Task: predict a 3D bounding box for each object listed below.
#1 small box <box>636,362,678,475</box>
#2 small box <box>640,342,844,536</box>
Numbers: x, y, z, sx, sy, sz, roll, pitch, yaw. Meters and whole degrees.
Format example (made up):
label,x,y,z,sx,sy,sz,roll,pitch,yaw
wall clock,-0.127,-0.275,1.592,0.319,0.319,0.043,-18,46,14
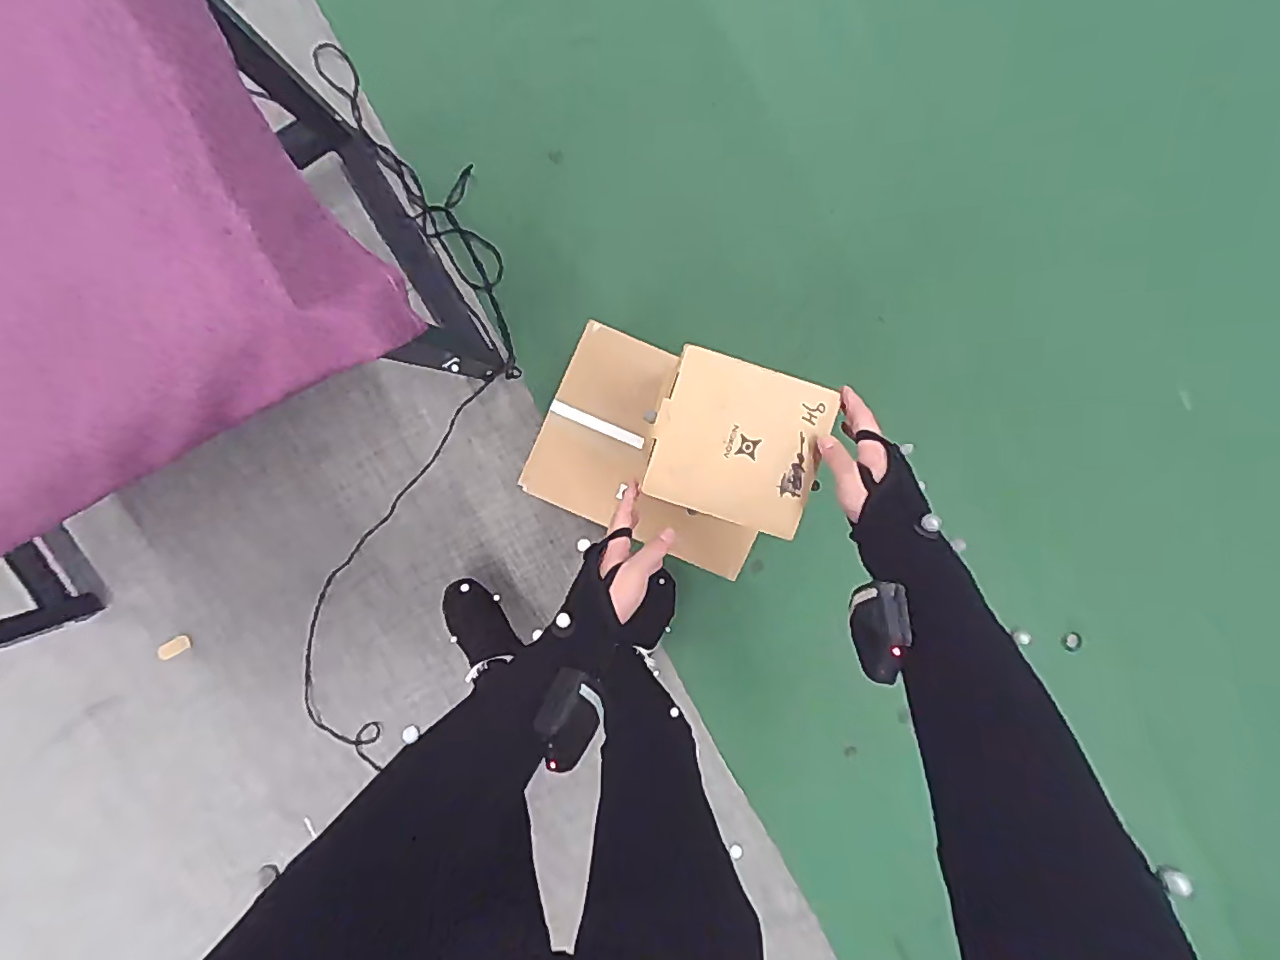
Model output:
label,x,y,z,sx,sy,sz,roll,pitch,yaw
small box,0.102,-0.063,0.812,0.179,0.176,0.168,17,95,0
small box,0.109,-0.047,0.649,0.179,0.176,0.168,18,95,1
